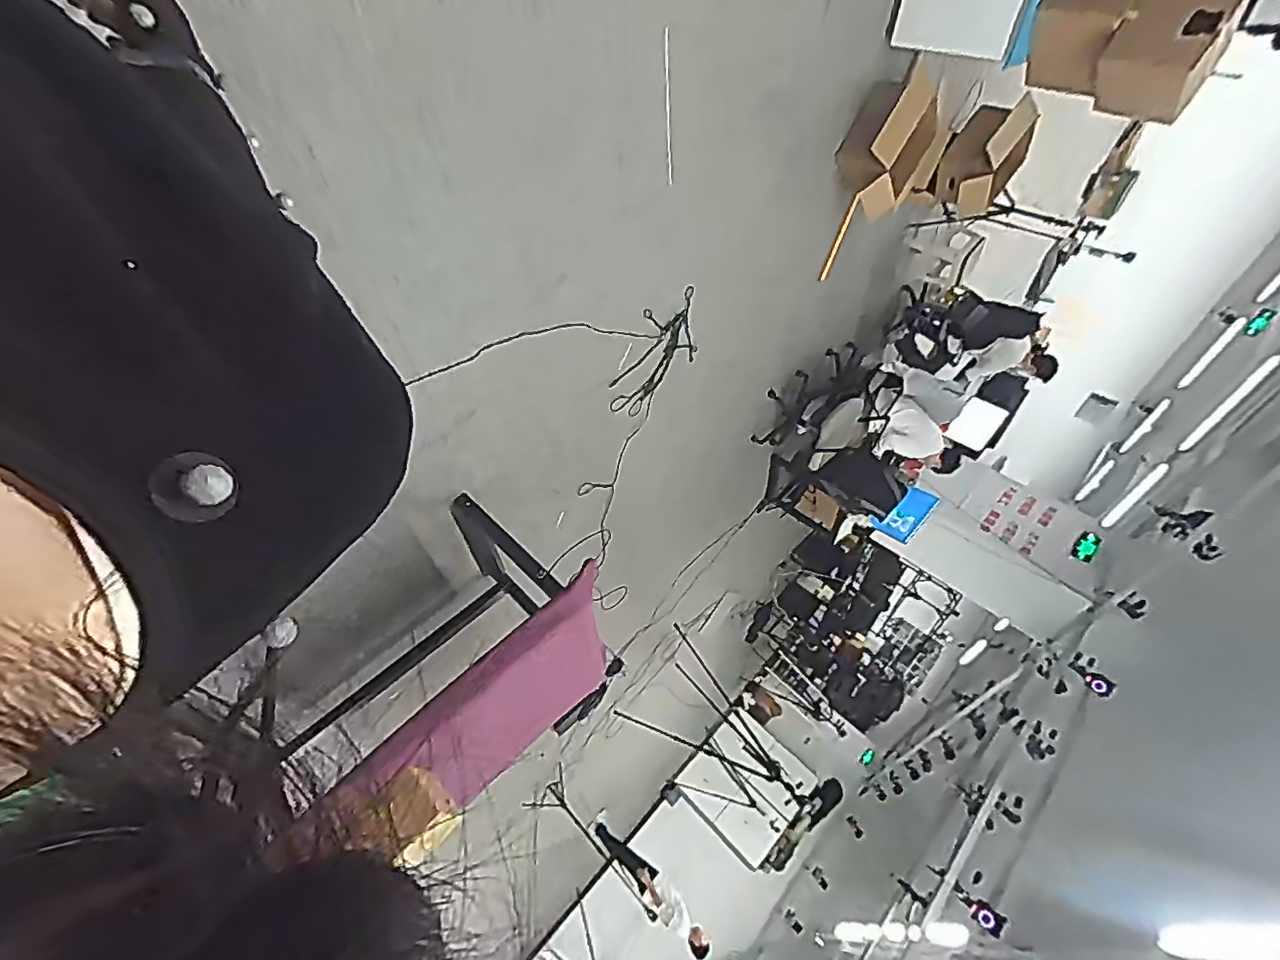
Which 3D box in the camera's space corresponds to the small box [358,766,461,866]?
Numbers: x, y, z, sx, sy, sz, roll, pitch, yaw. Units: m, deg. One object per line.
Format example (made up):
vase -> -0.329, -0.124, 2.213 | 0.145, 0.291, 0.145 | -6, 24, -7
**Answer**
small box -> -0.635, 0.926, 1.496 | 0.168, 0.176, 0.179 | -43, 150, -21
